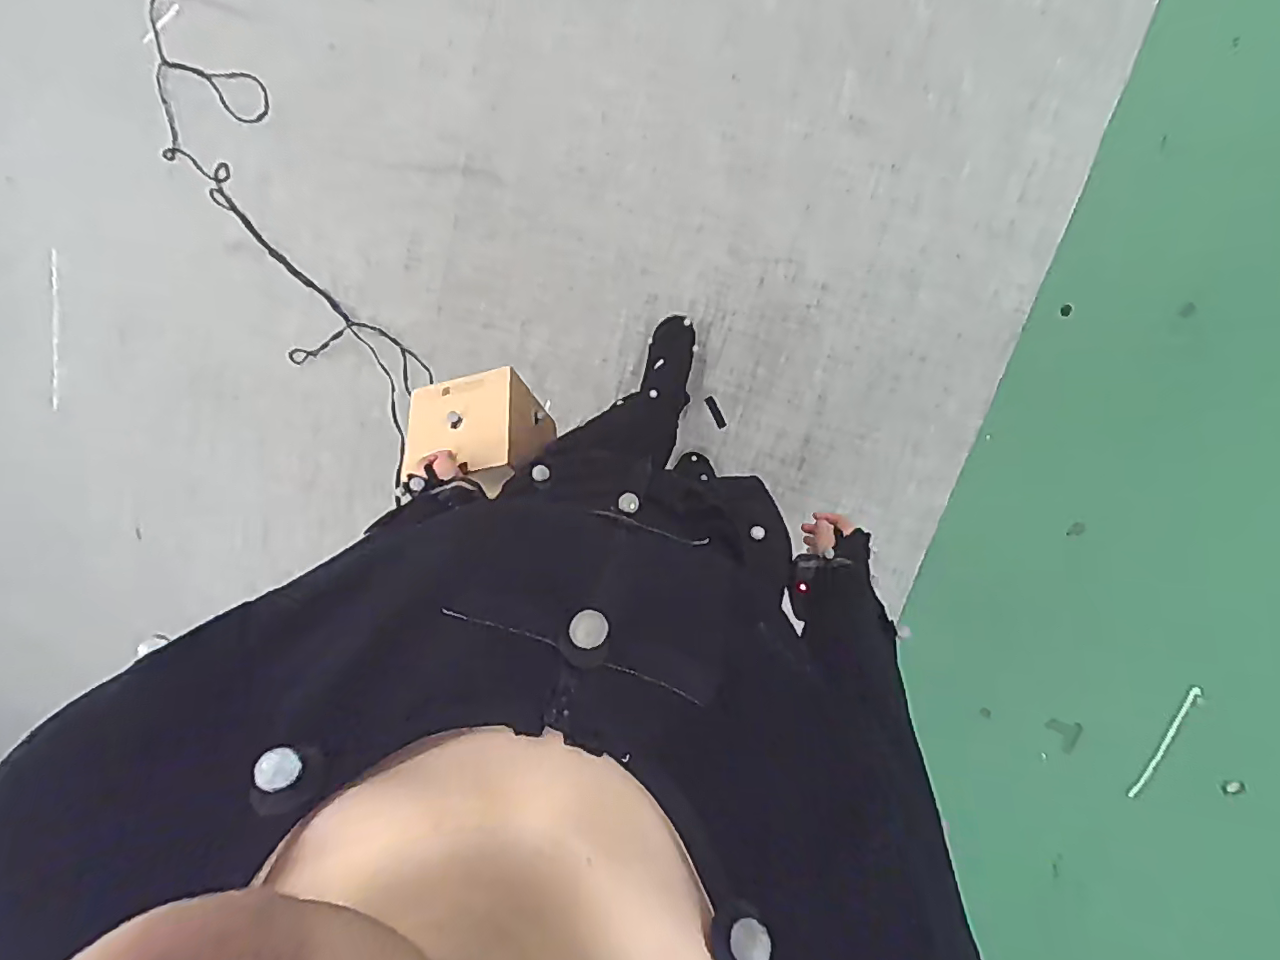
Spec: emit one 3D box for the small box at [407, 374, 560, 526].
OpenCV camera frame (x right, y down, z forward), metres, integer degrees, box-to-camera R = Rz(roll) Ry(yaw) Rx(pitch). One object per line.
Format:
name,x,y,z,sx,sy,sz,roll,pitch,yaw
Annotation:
small box,-0.234,-0.048,0.842,0.168,0.179,0.176,-11,63,11
